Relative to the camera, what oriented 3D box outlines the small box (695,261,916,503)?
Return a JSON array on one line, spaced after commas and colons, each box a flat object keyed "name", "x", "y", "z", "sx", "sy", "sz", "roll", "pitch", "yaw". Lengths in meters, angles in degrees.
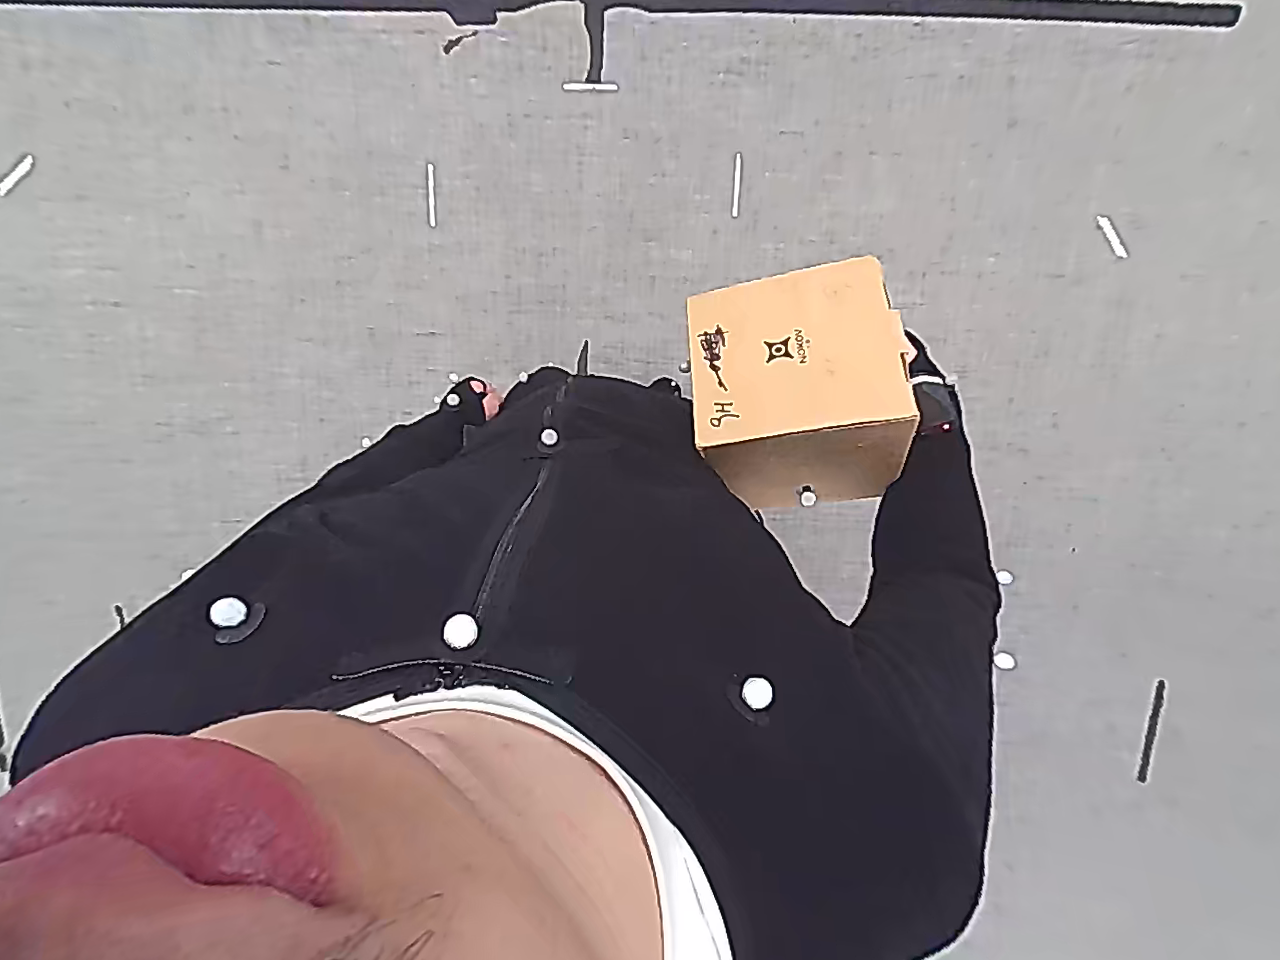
[{"name": "small box", "x": 0.158, "y": -0.086, "z": 0.551, "sx": 0.179, "sy": 0.176, "sz": 0.168, "roll": -7, "pitch": 65, "yaw": 15}]
